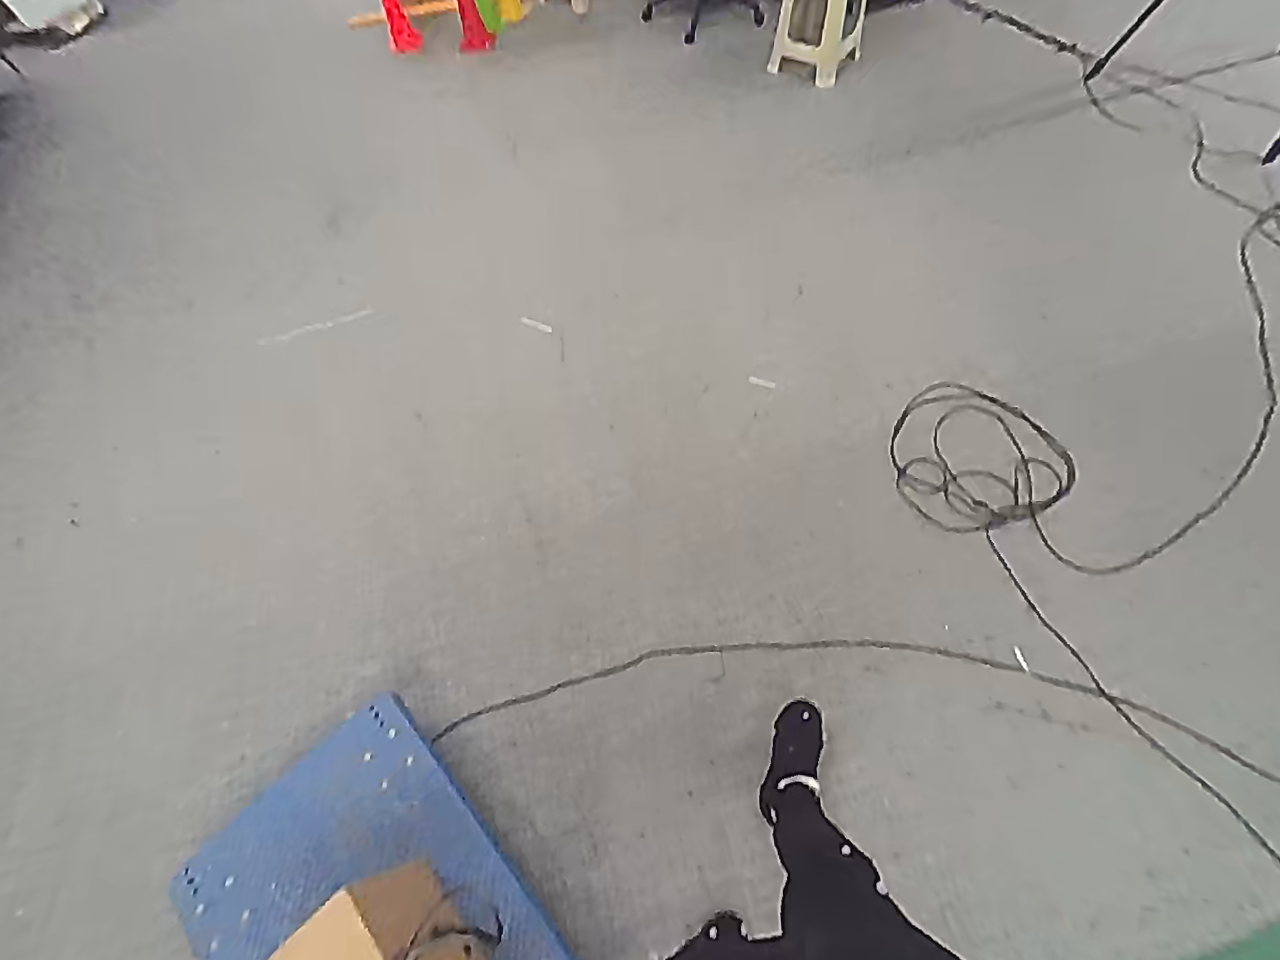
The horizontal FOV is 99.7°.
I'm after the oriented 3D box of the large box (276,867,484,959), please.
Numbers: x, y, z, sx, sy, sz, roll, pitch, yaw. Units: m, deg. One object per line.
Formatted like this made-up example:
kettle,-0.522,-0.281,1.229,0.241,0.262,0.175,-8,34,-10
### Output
large box,-0.444,0.971,0.910,0.320,0.320,0.408,-42,65,-16
